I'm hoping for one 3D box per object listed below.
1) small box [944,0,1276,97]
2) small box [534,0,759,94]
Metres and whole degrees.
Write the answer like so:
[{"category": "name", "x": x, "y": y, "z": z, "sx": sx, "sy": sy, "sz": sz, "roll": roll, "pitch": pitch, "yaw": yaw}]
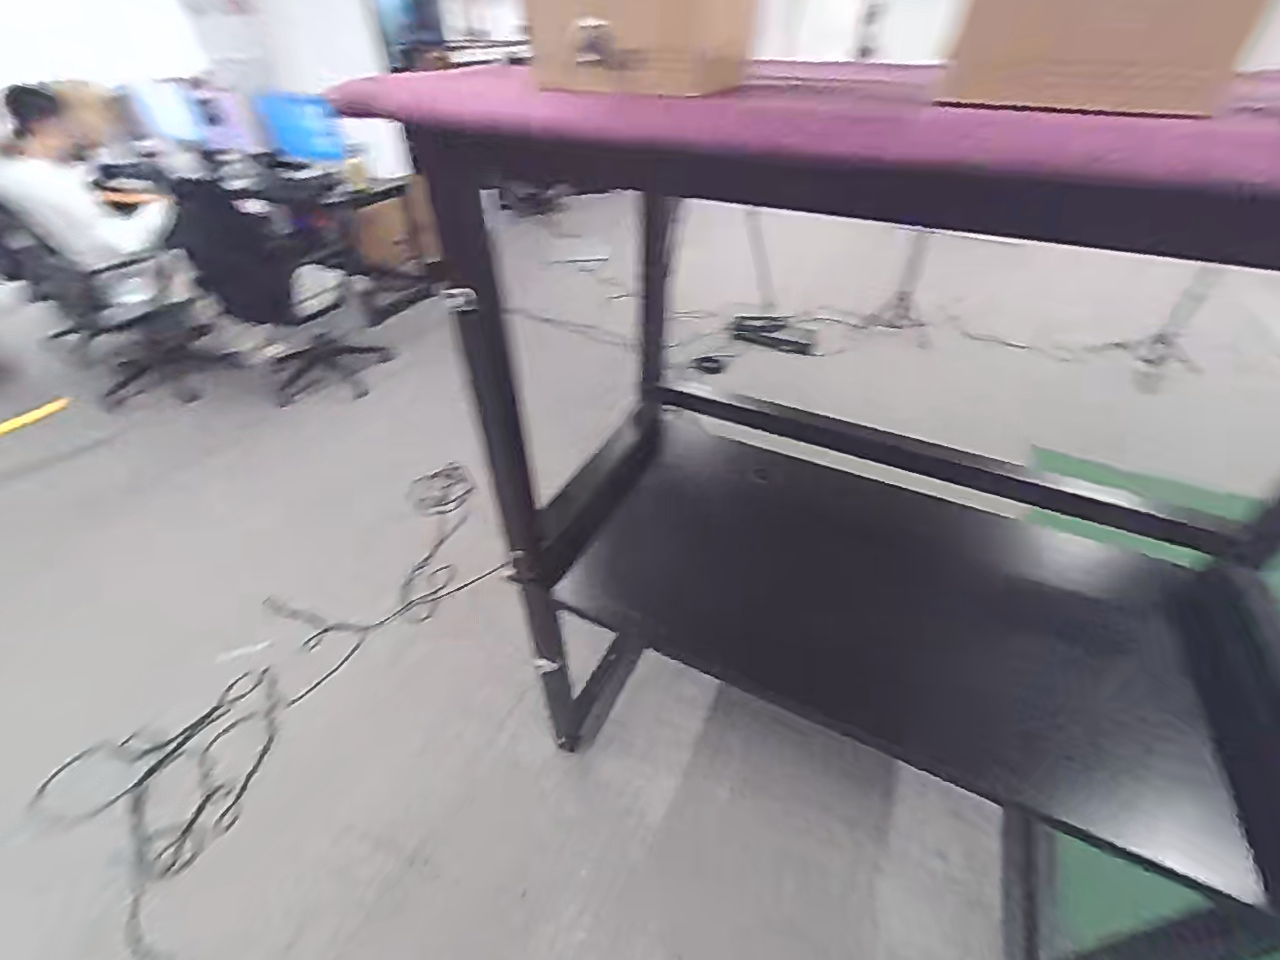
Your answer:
[{"category": "small box", "x": 0.337, "y": -0.376, "z": 0.379, "sx": 0.179, "sy": 0.176, "sz": 0.168, "roll": 19, "pitch": 43, "yaw": 21}, {"category": "small box", "x": 0.010, "y": -0.456, "z": 0.478, "sx": 0.168, "sy": 0.176, "sz": 0.179, "roll": 15, "pitch": 44, "yaw": 19}]
